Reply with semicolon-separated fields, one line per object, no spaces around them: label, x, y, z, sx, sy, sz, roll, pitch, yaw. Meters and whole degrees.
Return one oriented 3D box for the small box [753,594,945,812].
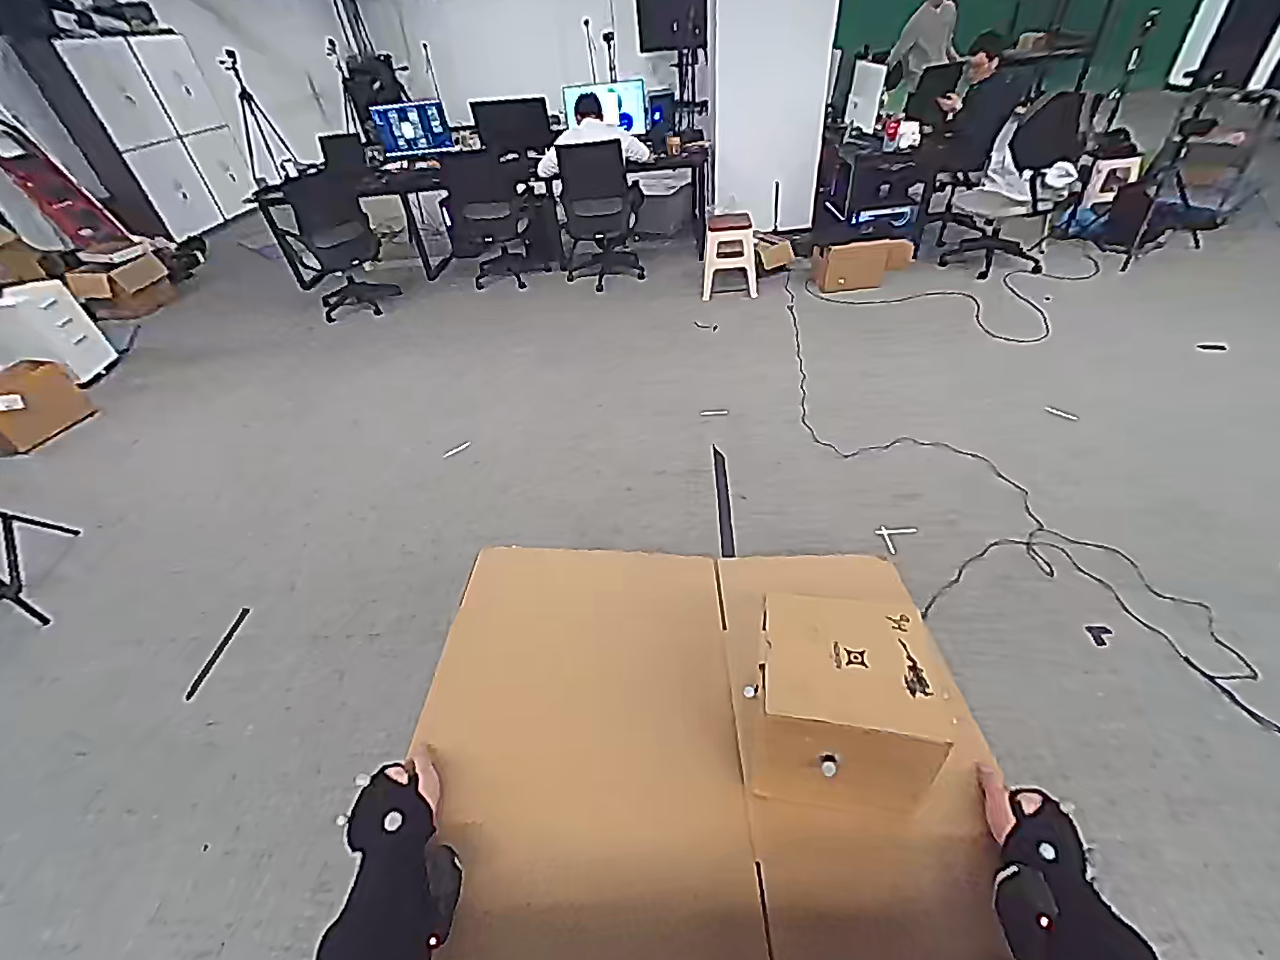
small box;0.226;0.258;0.632;0.179;0.176;0.168;3;37;11
